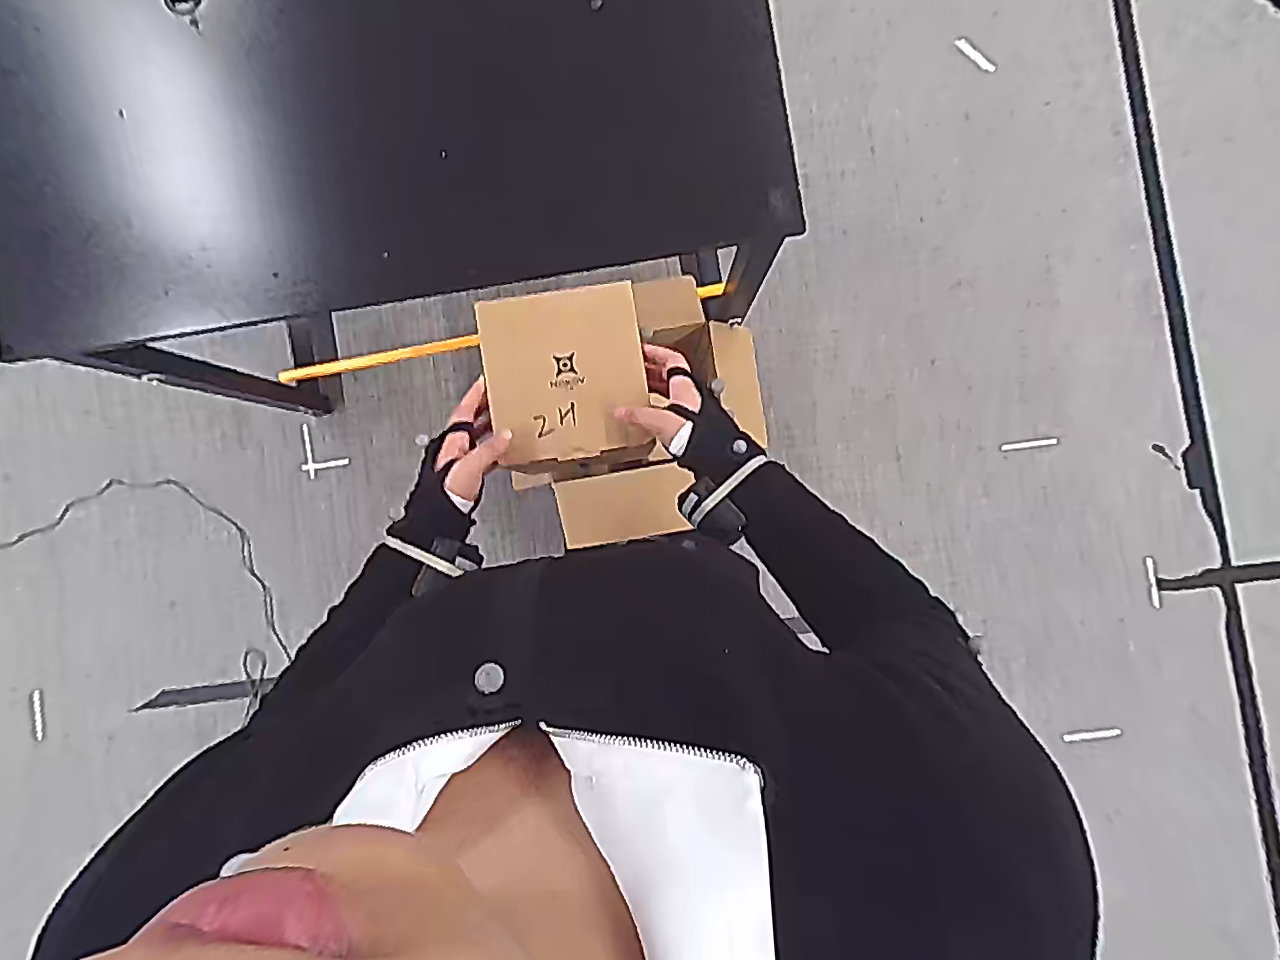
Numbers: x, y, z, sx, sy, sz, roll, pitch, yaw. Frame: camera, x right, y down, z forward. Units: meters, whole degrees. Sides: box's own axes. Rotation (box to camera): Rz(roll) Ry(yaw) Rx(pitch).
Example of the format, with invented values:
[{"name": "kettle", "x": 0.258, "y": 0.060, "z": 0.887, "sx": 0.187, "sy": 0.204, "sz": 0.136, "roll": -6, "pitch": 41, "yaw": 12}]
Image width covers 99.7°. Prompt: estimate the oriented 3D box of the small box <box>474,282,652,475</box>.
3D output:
[{"name": "small box", "x": -0.083, "y": -0.106, "z": 0.633, "sx": 0.168, "sy": 0.176, "sz": 0.179, "roll": -8, "pitch": 88, "yaw": -2}]
